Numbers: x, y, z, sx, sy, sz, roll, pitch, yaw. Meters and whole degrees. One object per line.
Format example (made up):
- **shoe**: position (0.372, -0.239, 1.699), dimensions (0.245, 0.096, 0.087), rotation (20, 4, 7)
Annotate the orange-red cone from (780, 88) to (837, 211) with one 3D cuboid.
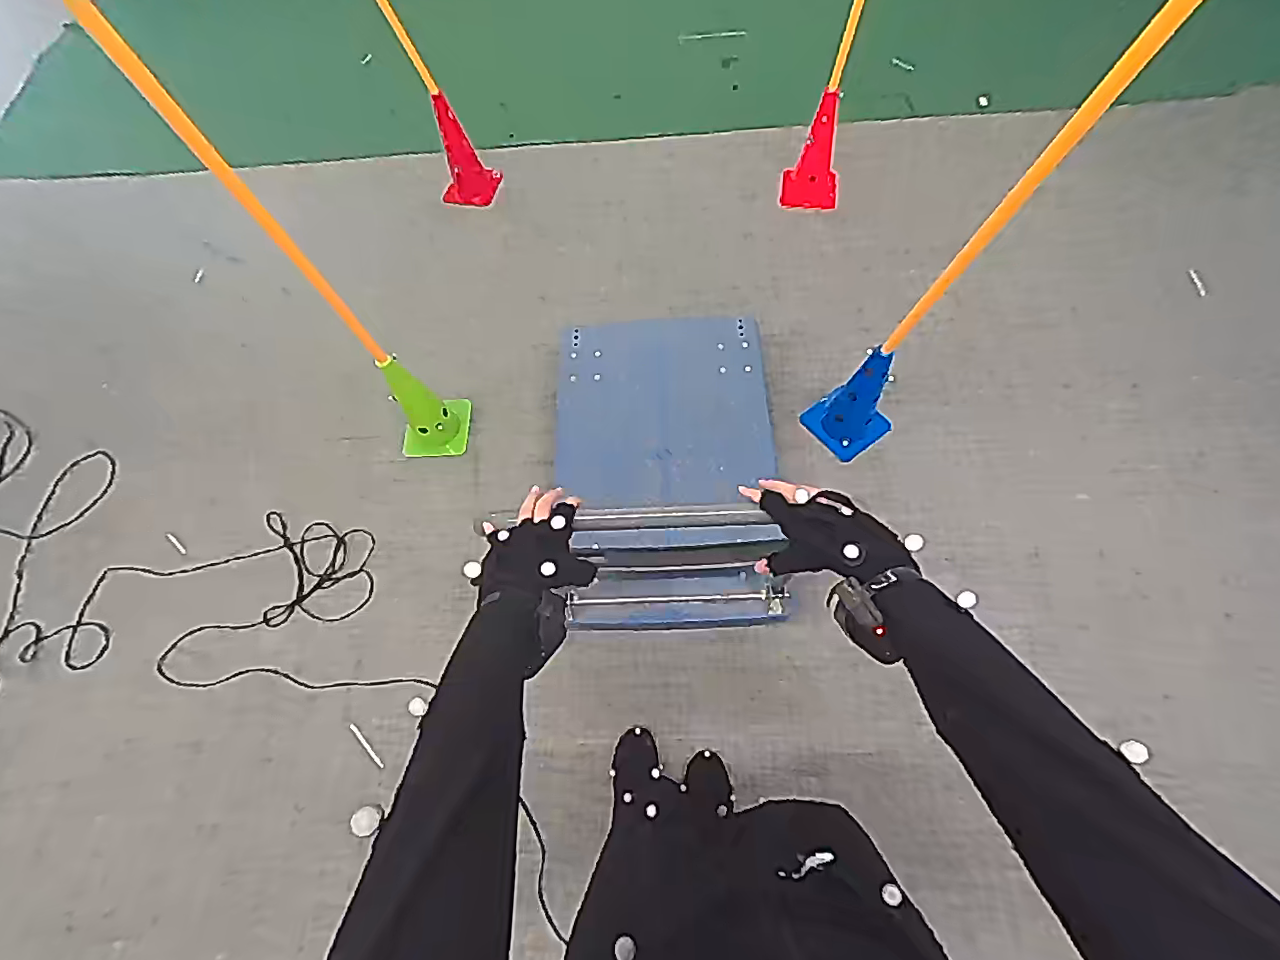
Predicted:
- **orange-red cone**: position (0.609, -1.138, 1.844), dimensions (0.198, 0.360, 0.199), rotation (8, 68, 9)
